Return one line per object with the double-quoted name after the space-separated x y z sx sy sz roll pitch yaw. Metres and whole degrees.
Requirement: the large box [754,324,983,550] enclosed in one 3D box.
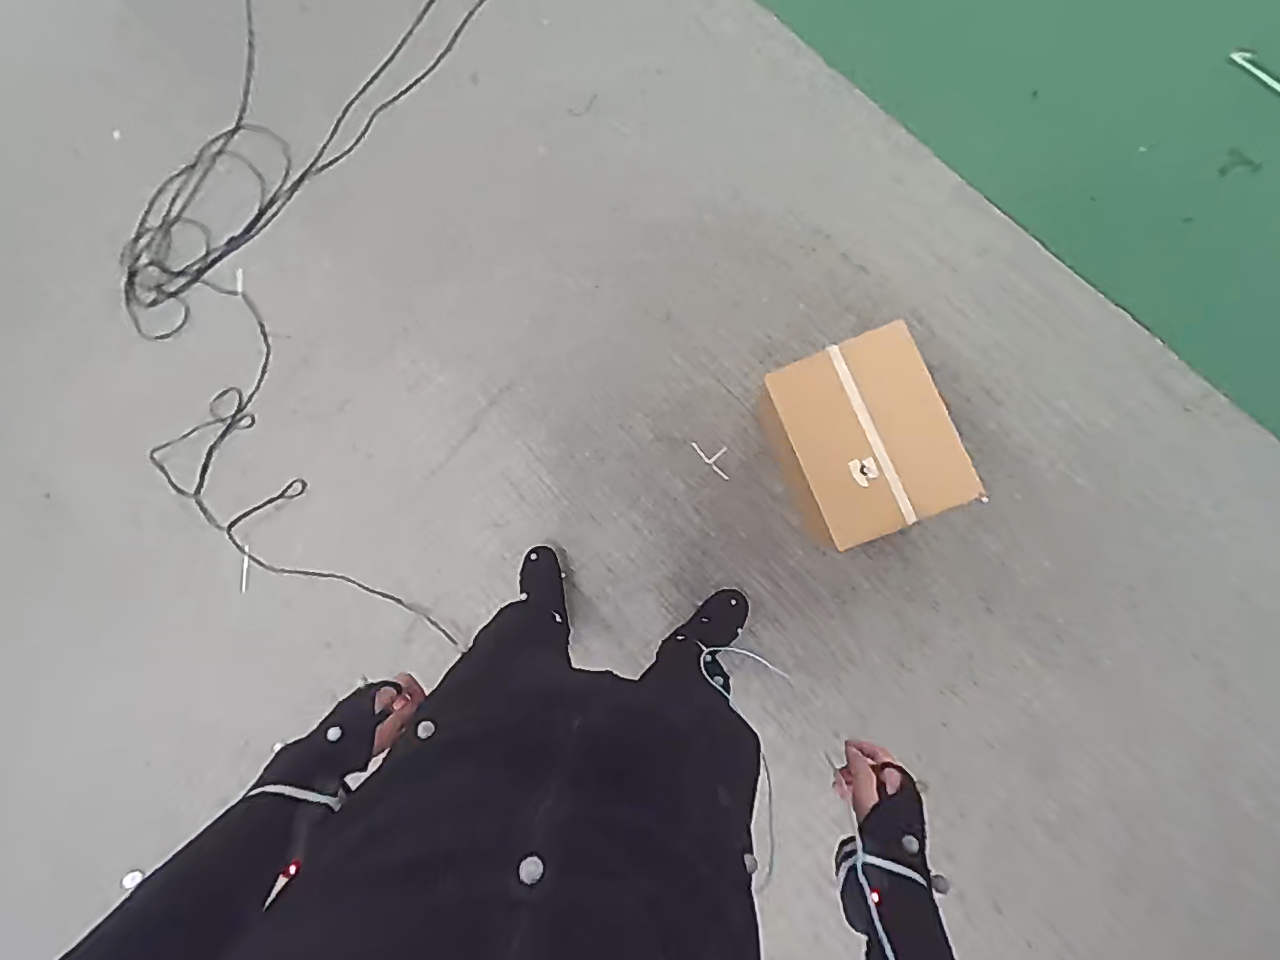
0.499 -0.082 1.275 0.320 0.320 0.408 -22 83 6 "large box"
